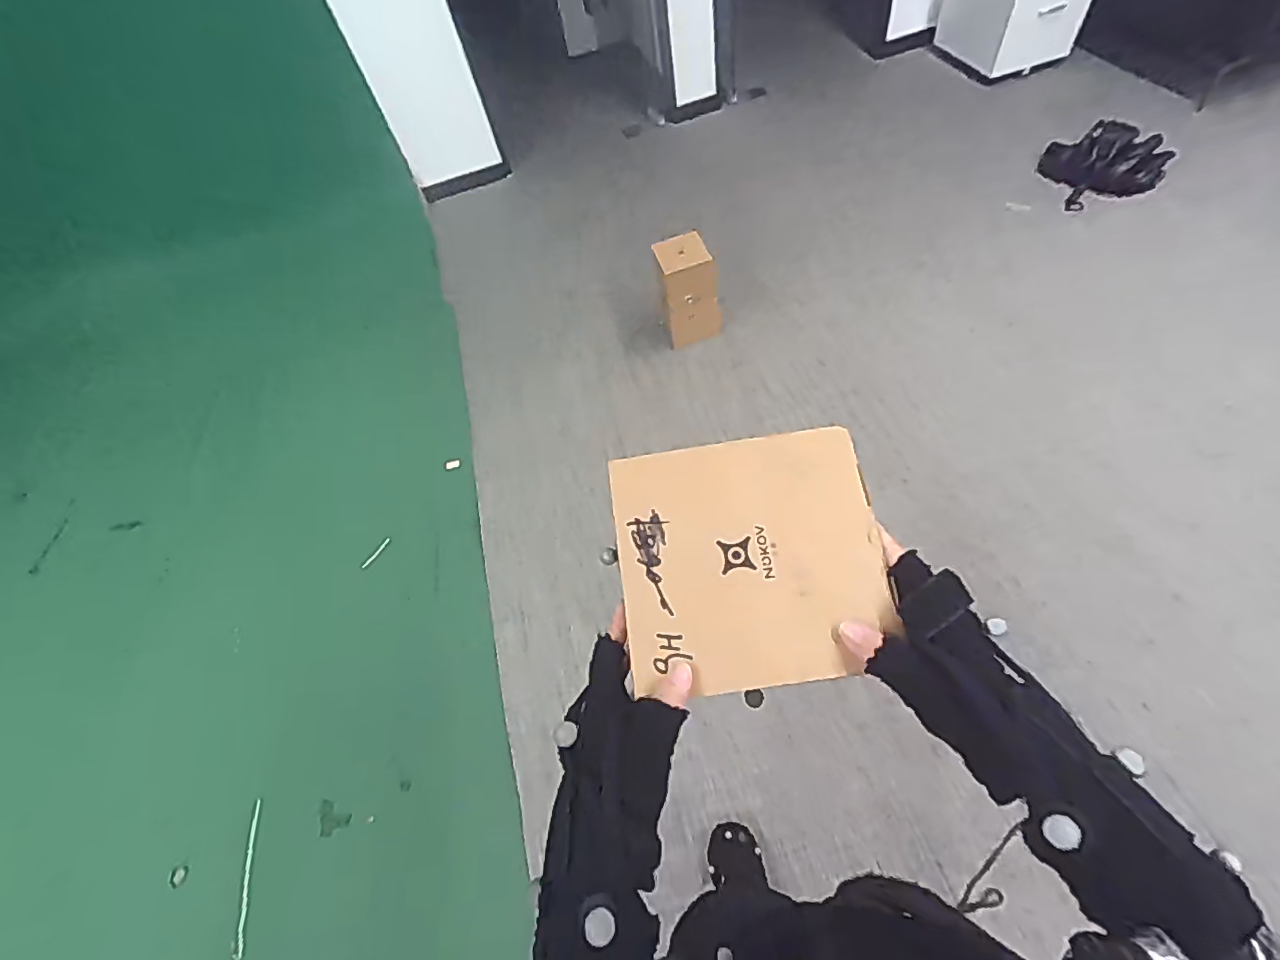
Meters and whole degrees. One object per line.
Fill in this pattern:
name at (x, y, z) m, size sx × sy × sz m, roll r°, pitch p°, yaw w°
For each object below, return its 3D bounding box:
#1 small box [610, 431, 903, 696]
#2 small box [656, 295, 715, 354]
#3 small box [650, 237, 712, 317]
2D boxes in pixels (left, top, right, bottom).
small box at (0.075, 0.077, 0.440) m, size 0.179 × 0.176 × 0.168 m, roll -8°, pitch 68°, yaw 0°
small box at (0.172, -0.594, 2.006) m, size 0.179 × 0.176 × 0.168 m, roll -17°, pitch 56°, yaw -1°
small box at (0.143, -0.697, 1.863) m, size 0.168 × 0.176 × 0.179 m, roll -19°, pitch 57°, yaw 0°
